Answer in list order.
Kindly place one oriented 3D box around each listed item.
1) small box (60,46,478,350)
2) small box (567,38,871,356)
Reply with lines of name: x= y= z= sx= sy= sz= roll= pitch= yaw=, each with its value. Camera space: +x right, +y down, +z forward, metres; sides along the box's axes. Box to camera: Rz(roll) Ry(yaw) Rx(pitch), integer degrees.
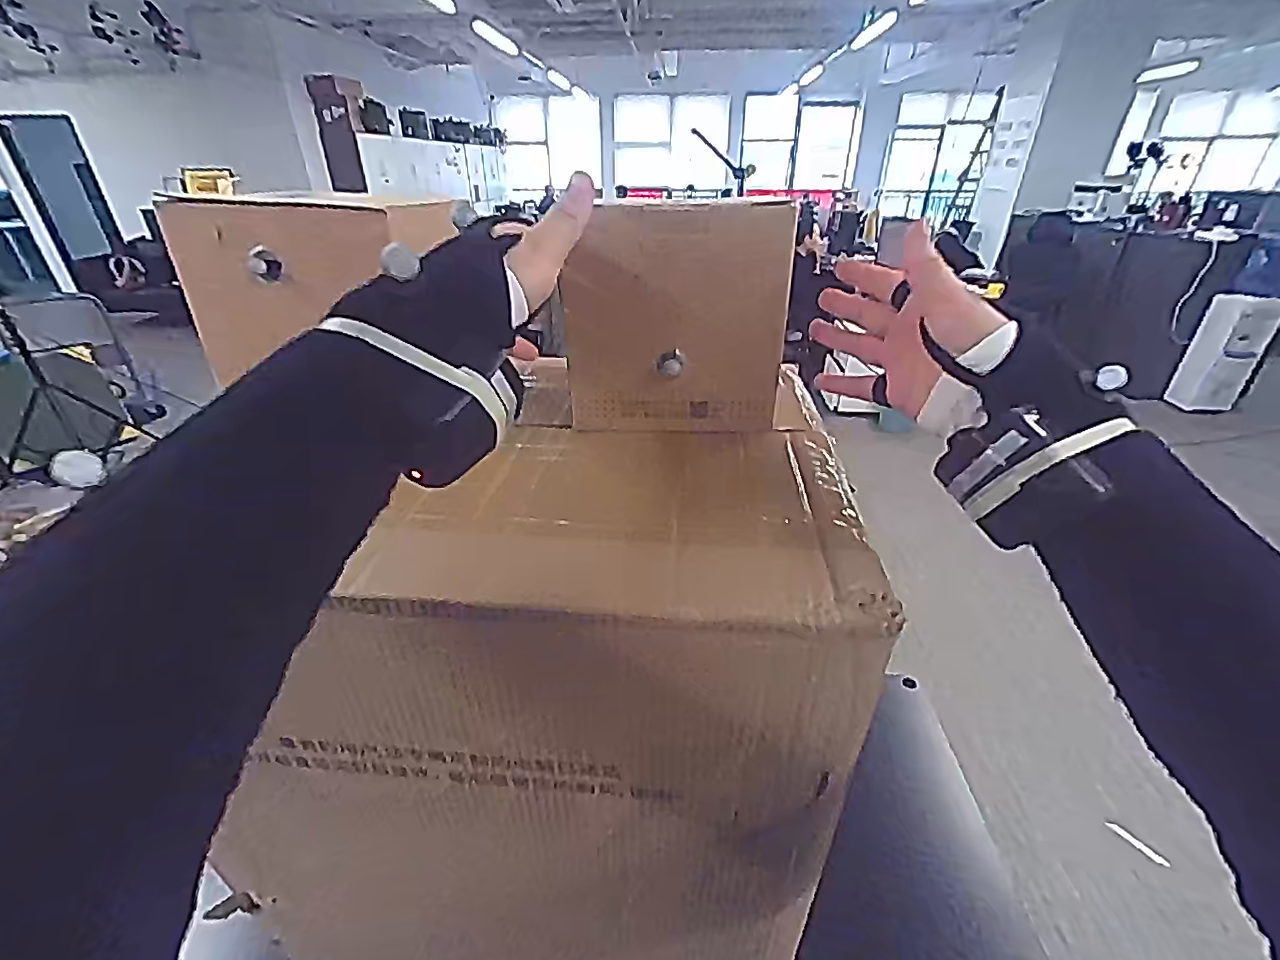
small box: x=-0.240 y=-0.201 z=0.407 sx=0.179 sy=0.176 sz=0.168 roll=4 pitch=29 yaw=4
small box: x=0.046 y=-0.195 z=0.397 sx=0.168 sy=0.176 sz=0.179 roll=1 pitch=27 yaw=4
